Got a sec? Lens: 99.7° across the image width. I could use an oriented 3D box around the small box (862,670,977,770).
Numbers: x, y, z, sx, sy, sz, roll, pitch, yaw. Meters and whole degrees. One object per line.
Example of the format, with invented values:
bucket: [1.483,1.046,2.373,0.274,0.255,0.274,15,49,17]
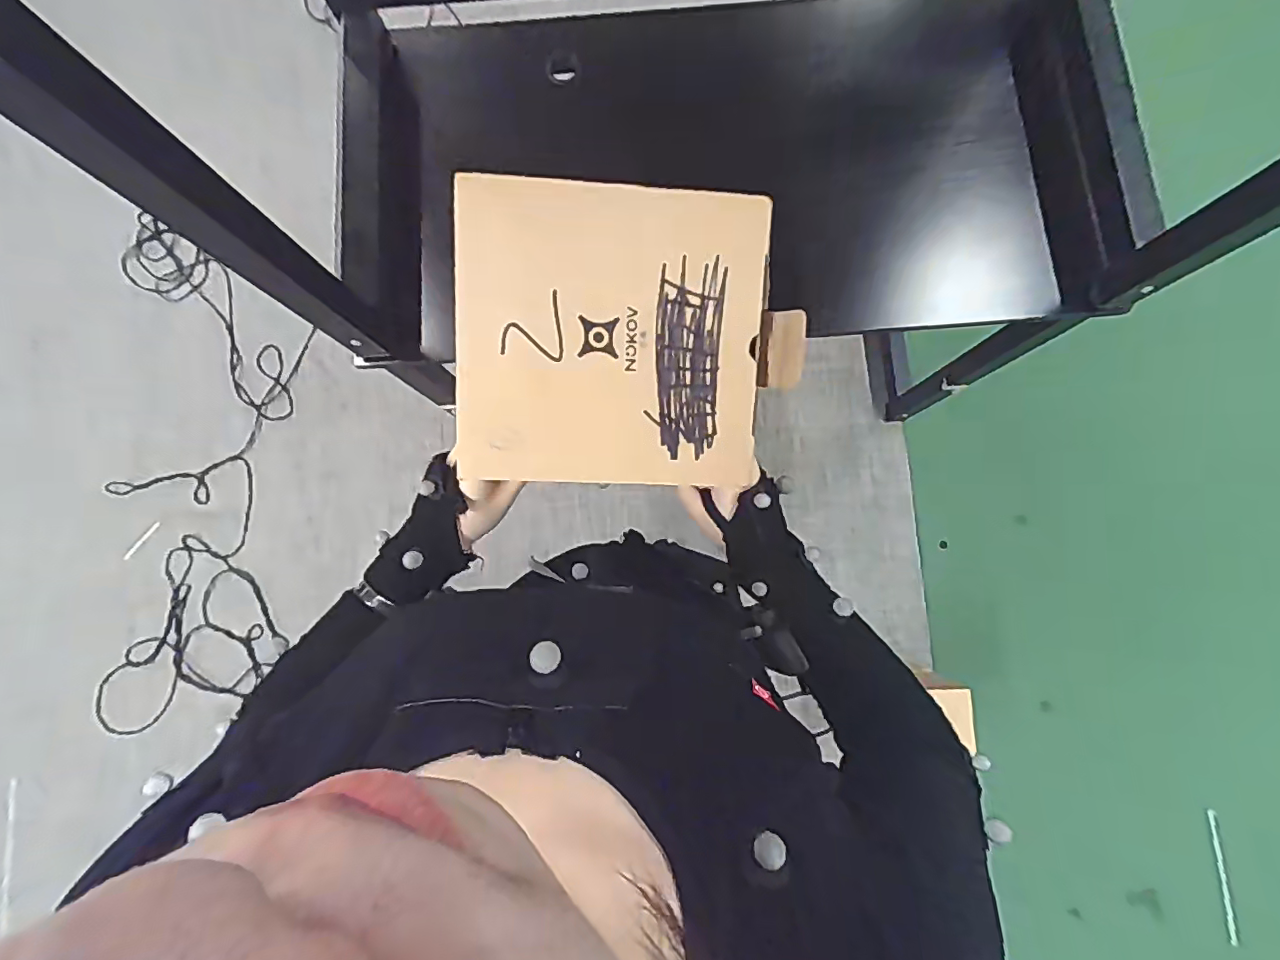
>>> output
small box: [0.609,0.527,1.204,0.179,0.176,0.168,-1,84,1]
